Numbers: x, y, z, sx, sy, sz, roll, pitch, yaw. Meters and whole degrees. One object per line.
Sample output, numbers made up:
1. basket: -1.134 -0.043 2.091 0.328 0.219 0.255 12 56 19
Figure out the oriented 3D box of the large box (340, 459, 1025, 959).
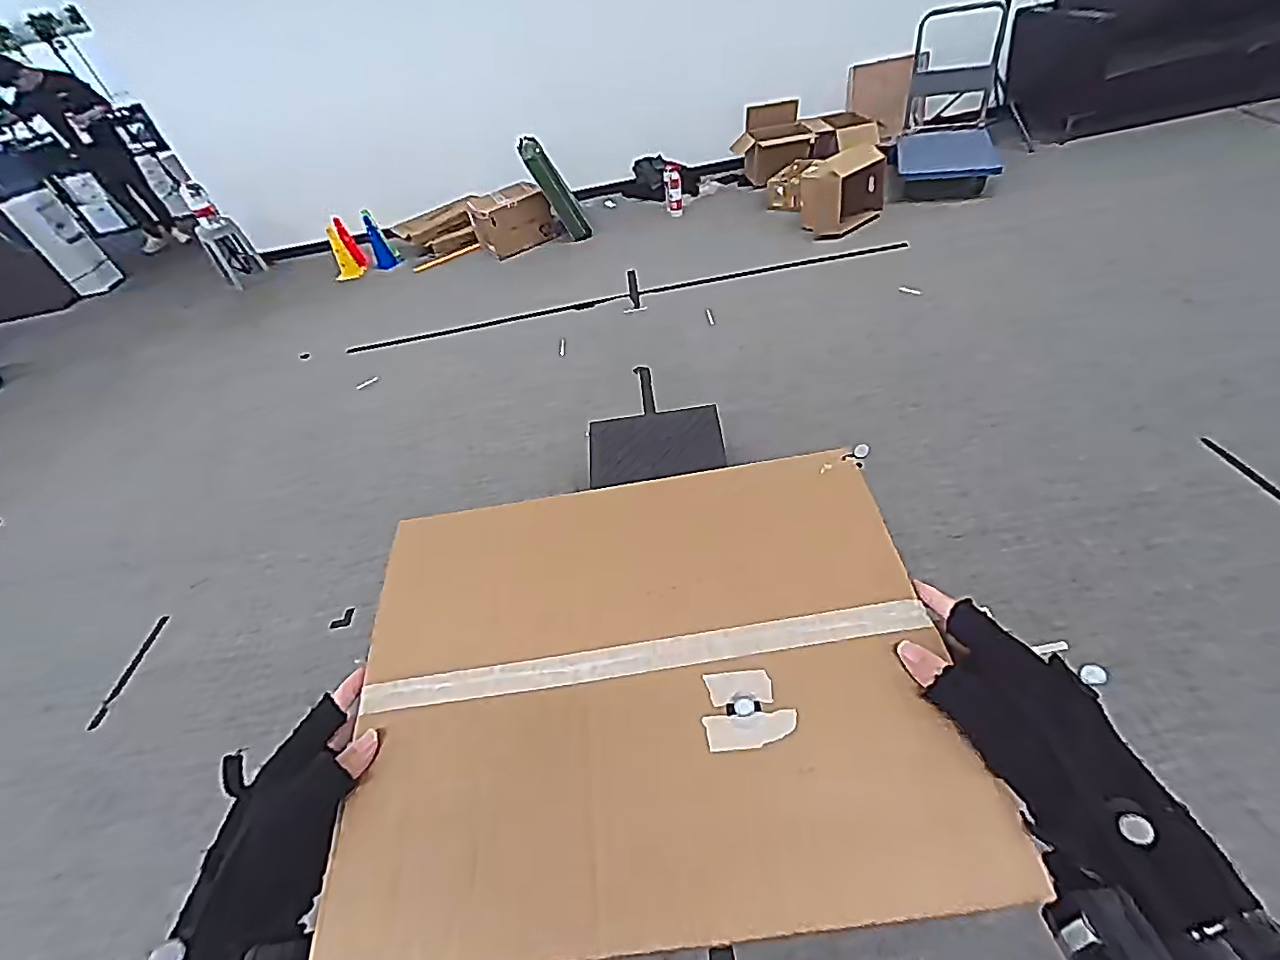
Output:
1. large box: 0.022 0.223 0.512 0.408 0.320 0.320 -9 52 2
